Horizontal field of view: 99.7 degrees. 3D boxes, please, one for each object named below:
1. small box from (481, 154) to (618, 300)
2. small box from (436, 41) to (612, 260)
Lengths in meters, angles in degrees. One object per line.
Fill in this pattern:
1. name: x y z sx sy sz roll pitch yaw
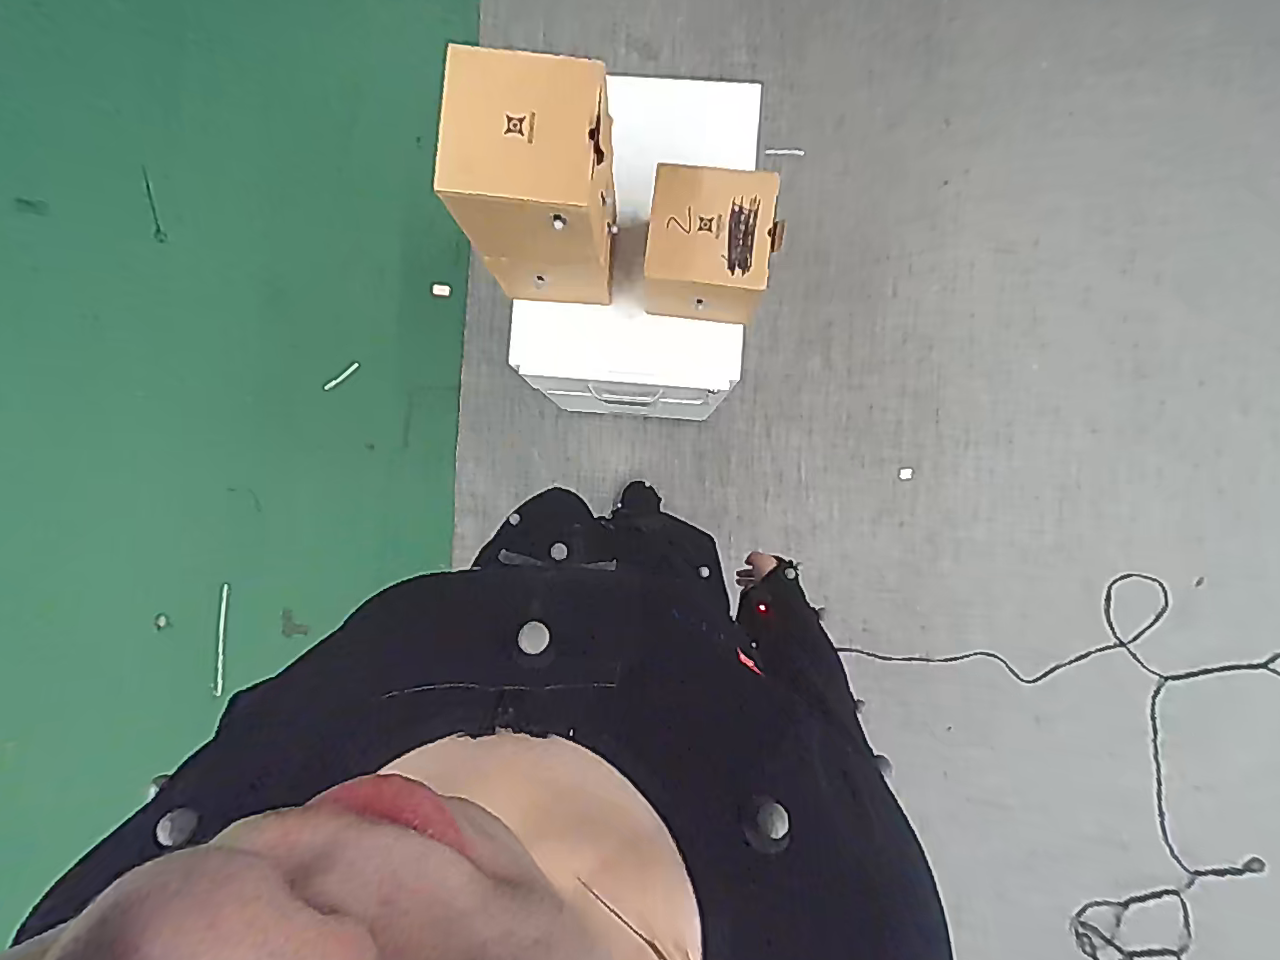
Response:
1. small box: -0.131 -0.389 0.838 0.179 0.176 0.168 4 90 0
2. small box: -0.131 -0.394 0.675 0.179 0.176 0.168 6 89 -2
